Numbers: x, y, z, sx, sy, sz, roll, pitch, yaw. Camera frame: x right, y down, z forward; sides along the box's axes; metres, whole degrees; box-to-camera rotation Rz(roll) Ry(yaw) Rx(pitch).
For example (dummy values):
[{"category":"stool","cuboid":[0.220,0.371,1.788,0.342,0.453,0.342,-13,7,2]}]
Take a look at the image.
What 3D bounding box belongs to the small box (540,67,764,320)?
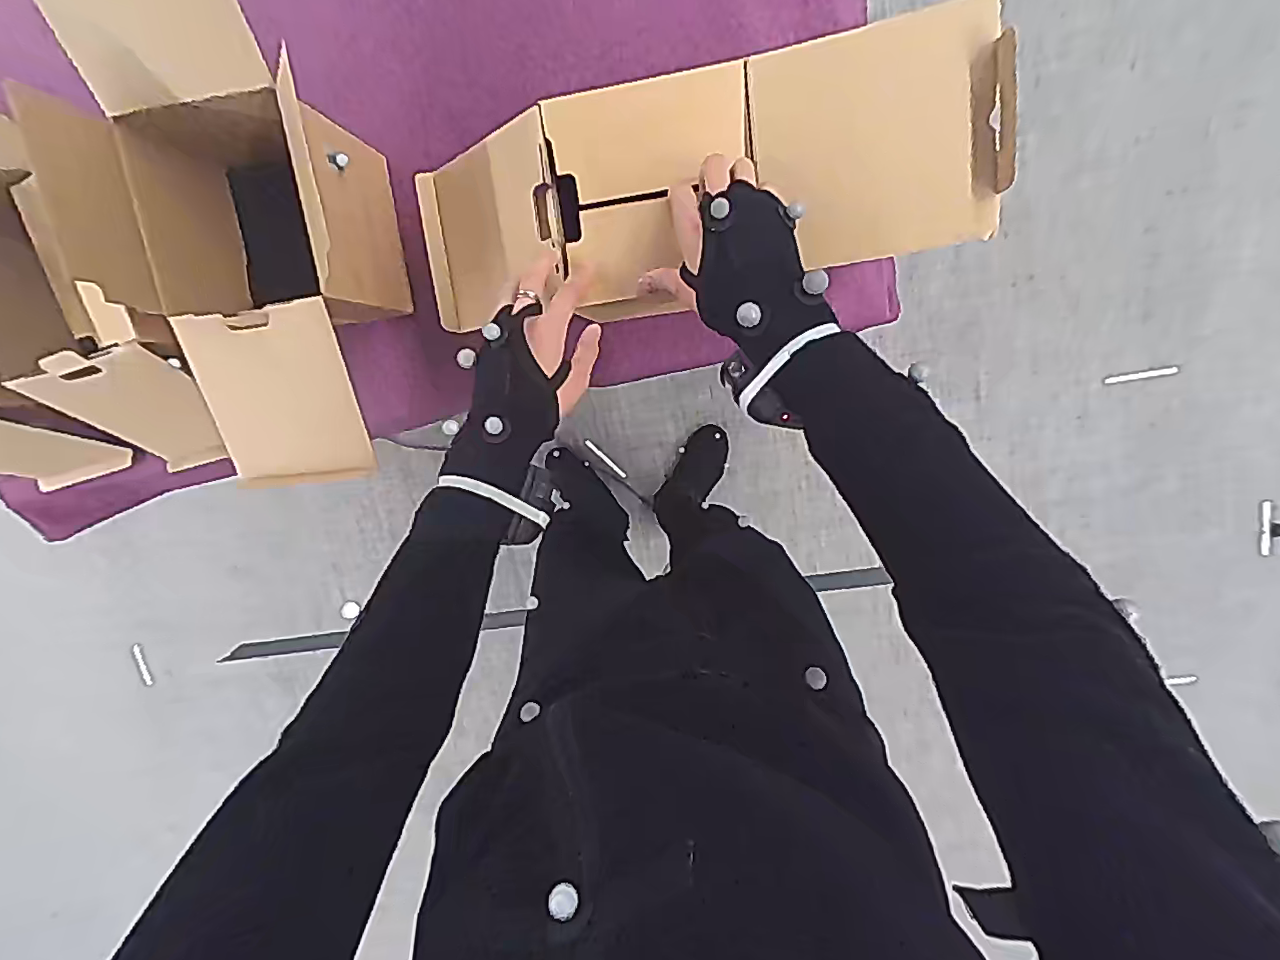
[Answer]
[{"category":"small box","cuboid":[0.019,-0.253,0.524,0.179,0.176,0.168,-4,101,8]}]
